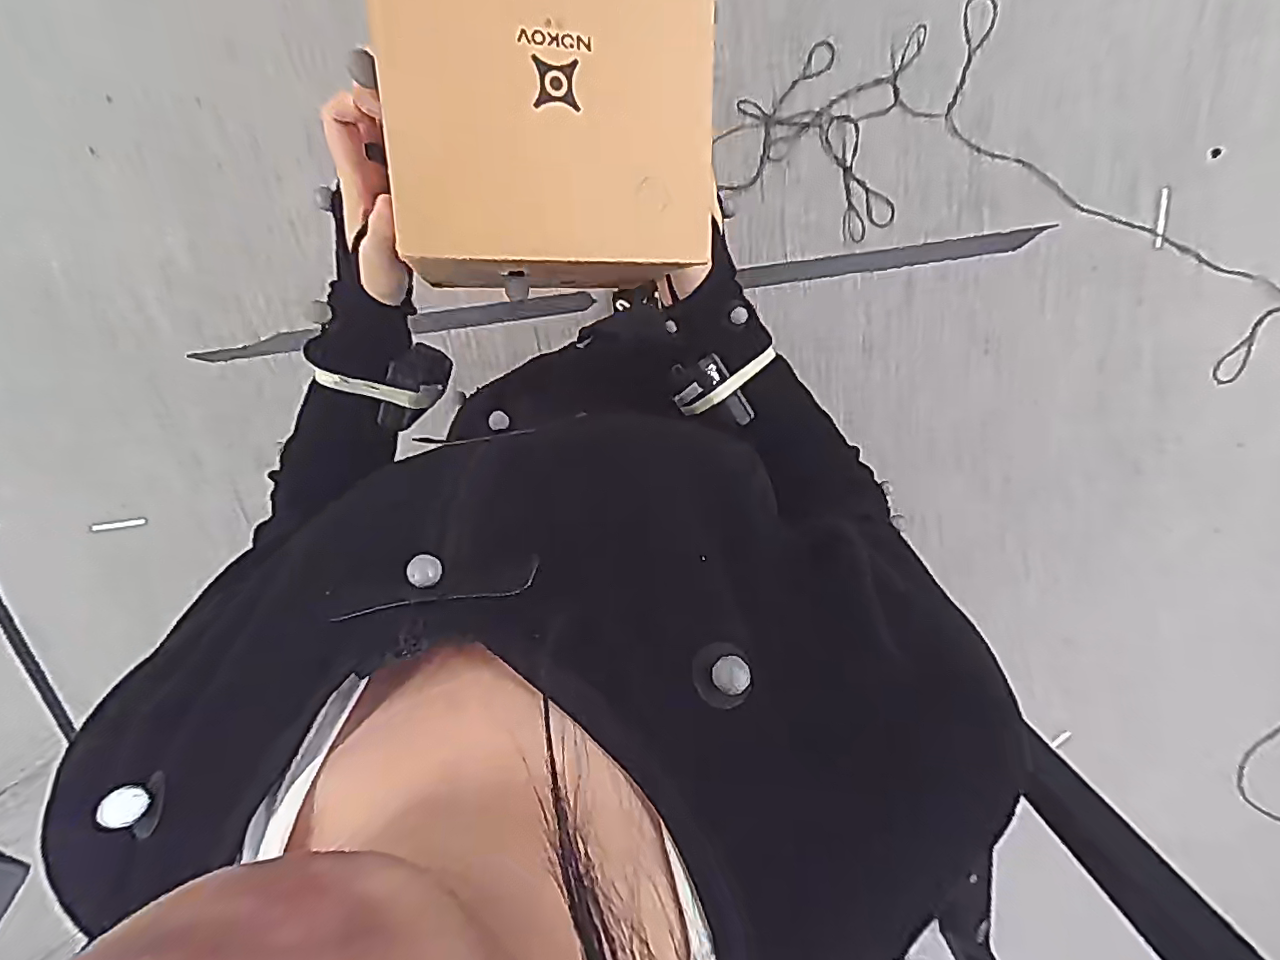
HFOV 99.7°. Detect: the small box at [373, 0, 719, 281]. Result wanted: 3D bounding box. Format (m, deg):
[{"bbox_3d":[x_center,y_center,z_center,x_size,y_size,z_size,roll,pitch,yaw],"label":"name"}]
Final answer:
[{"bbox_3d":[-0.059,-0.223,0.338,0.168,0.176,0.179,-5,105,-14],"label":"small box"}]
